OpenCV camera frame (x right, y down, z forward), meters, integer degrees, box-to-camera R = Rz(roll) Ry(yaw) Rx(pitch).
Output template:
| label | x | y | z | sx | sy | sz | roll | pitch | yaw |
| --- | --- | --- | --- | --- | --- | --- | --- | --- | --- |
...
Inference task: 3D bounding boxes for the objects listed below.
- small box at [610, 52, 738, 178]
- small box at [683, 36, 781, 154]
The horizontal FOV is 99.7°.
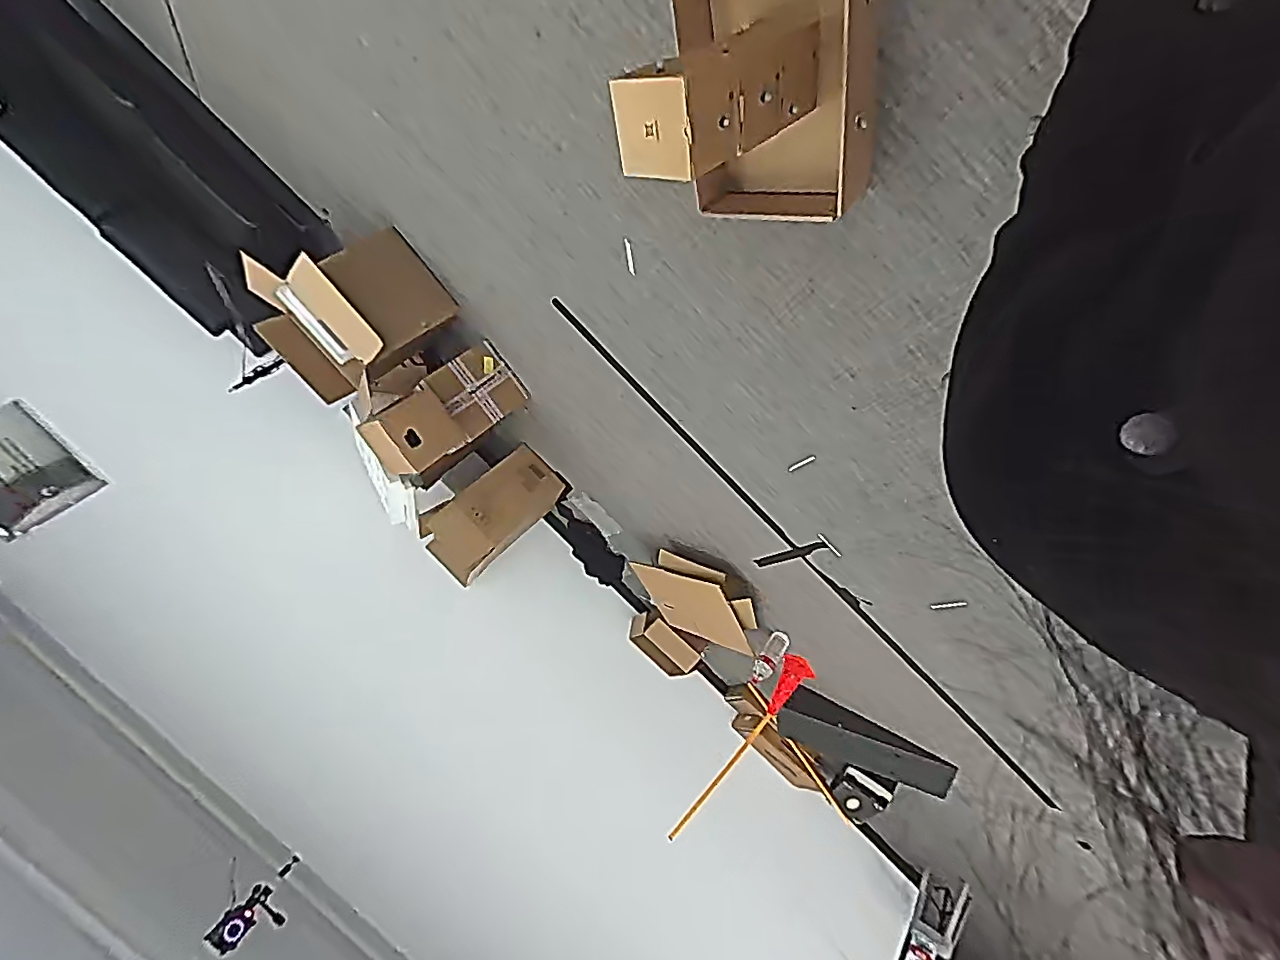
| label | x | y | z | sx | sy | sz | roll | pitch | yaw |
| --- | --- | --- | --- | --- | --- | --- | --- | --- | --- |
| small box | 0.072 | -0.706 | 1.044 | 0.179 | 0.176 | 0.168 | 24 | 145 | 32 |
| small box | 0.179 | -0.800 | 1.123 | 0.179 | 0.176 | 0.168 | 24 | 145 | 31 |
